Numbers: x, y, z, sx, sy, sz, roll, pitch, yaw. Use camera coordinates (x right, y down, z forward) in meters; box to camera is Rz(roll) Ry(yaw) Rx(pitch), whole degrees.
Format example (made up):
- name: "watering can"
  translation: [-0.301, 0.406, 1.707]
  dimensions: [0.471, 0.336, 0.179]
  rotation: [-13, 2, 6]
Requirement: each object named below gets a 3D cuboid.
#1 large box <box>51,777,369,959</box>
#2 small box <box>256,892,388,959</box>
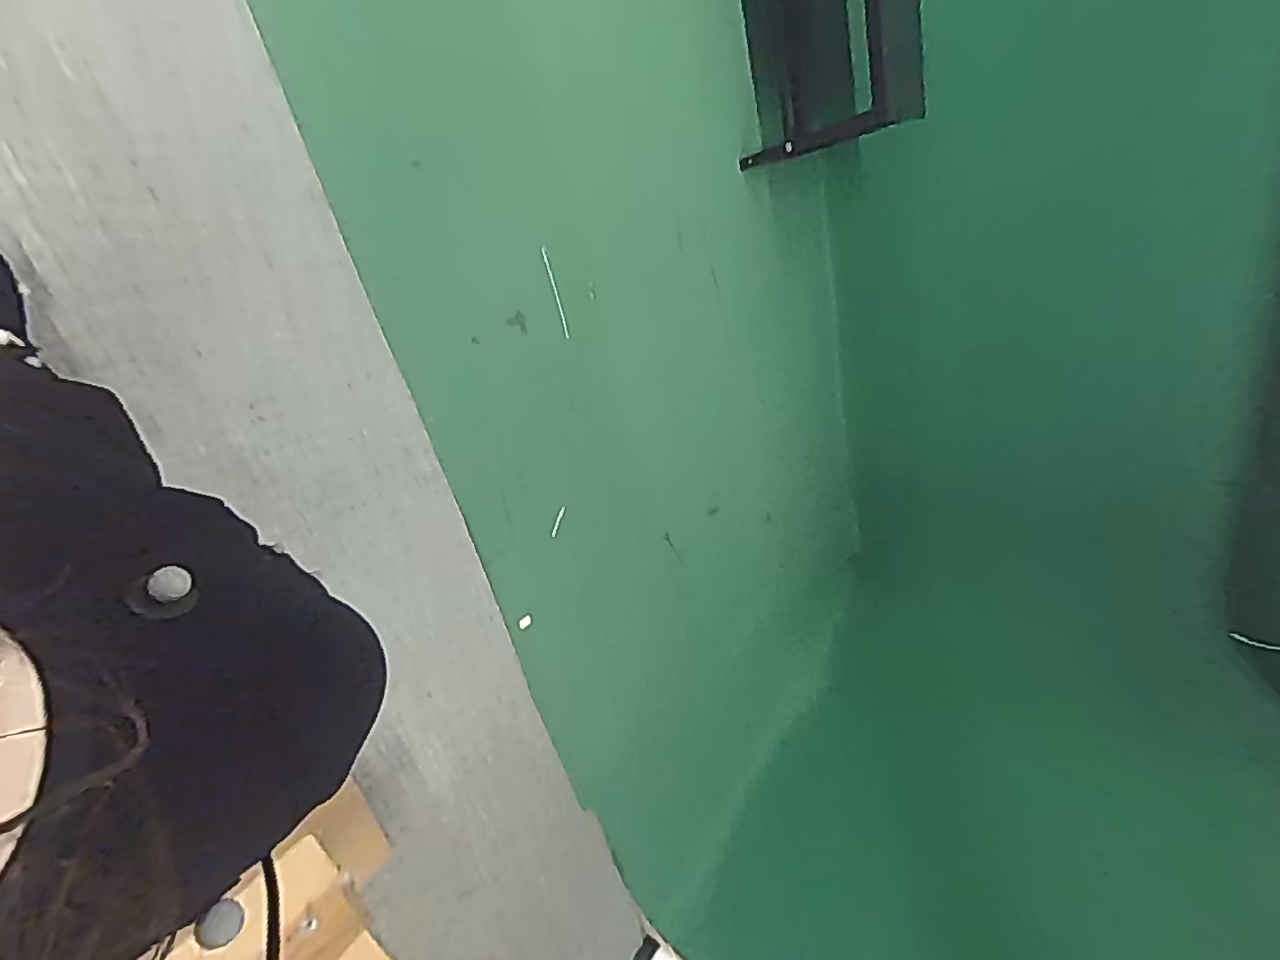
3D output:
- name: "large box"
  translation: [-0.885, 0.947, 1.144]
  dimensions: [0.408, 0.320, 0.320]
  rotation: [-36, 119, -41]
- name: "small box"
  translation: [-0.624, 0.980, 1.079]
  dimensions: [0.168, 0.176, 0.179]
  rotation: [-39, 122, -41]
